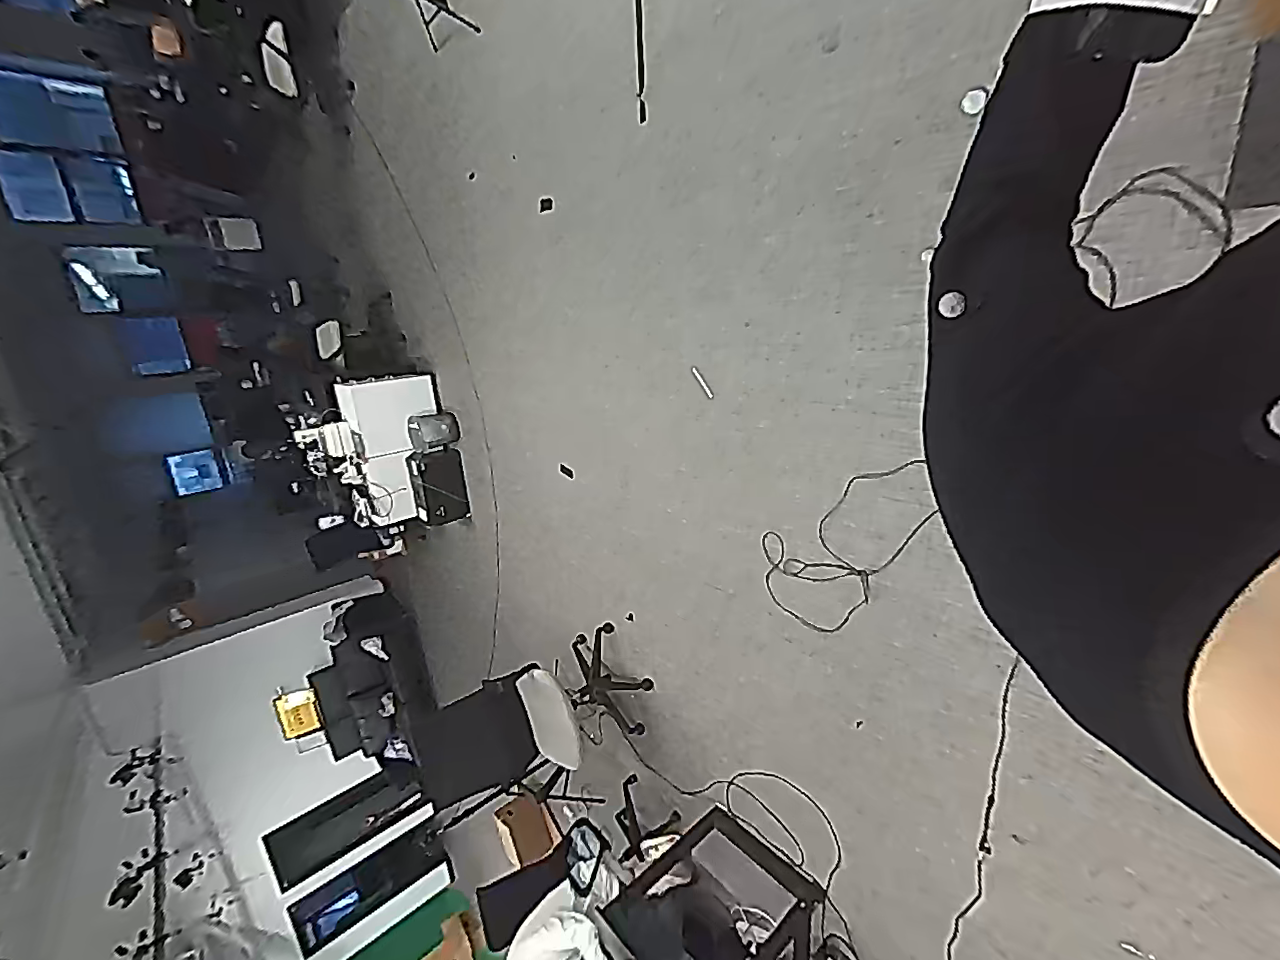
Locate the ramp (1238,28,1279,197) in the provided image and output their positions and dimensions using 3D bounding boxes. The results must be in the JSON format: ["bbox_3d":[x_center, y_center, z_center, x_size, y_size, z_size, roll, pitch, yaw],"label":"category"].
[{"bbox_3d":[1.116,-0.905,0.587,0.509,0.206,0.991,12,114,47],"label":"ramp"}]
